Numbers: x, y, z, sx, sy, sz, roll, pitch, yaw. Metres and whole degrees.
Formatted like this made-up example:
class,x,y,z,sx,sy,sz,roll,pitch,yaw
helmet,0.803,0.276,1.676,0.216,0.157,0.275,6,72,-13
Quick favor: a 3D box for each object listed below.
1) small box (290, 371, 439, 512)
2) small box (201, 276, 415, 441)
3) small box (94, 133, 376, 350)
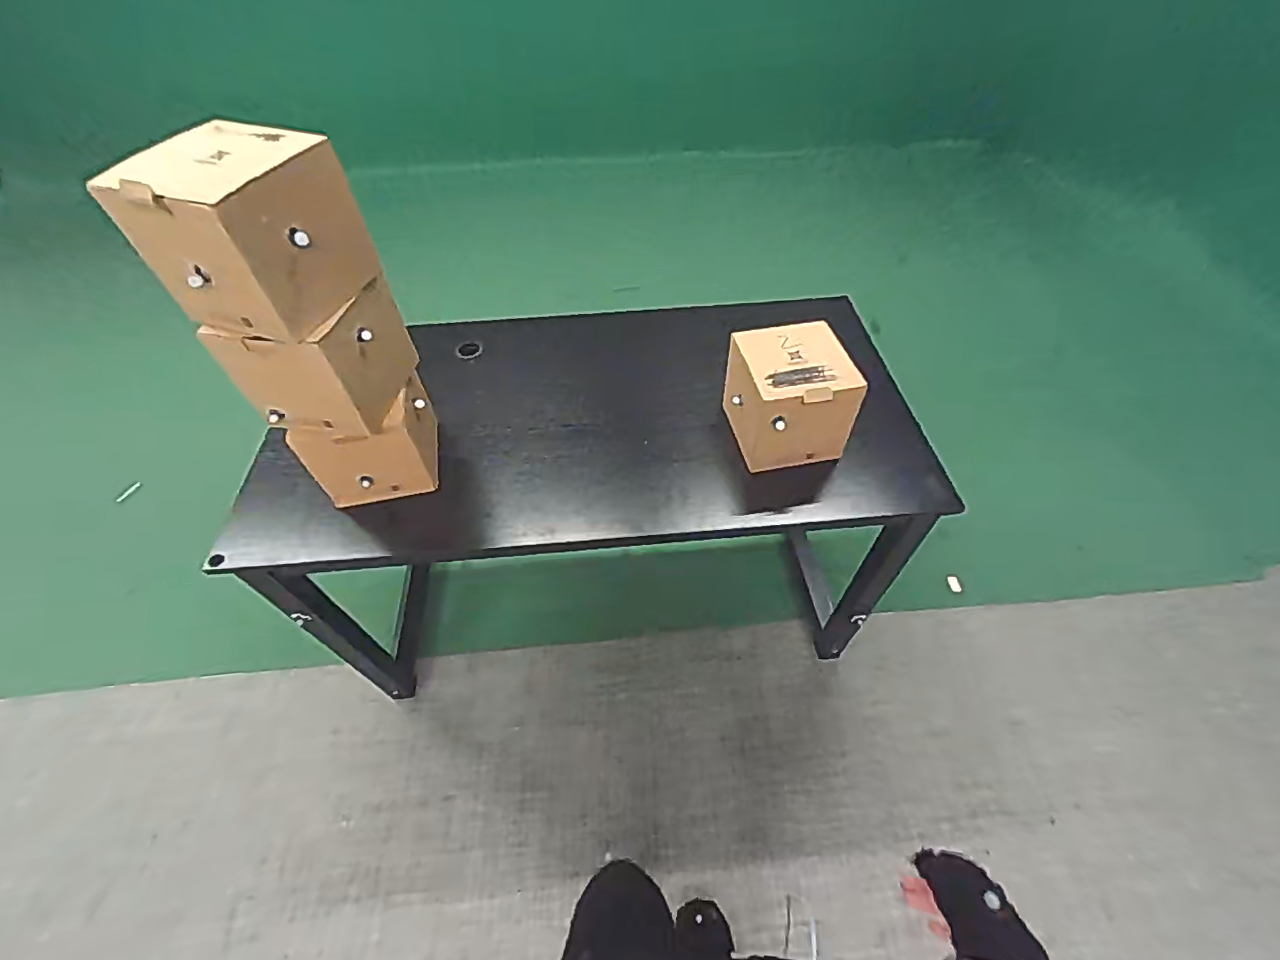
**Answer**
class,x,y,z,sx,sy,sz,roll,pitch,yaw
small box,-0.443,-0.073,0.901,0.168,0.176,0.179,-11,53,-8
small box,-0.450,-0.175,0.773,0.168,0.176,0.179,6,52,5
small box,-0.456,-0.282,0.648,0.168,0.176,0.179,15,55,11
